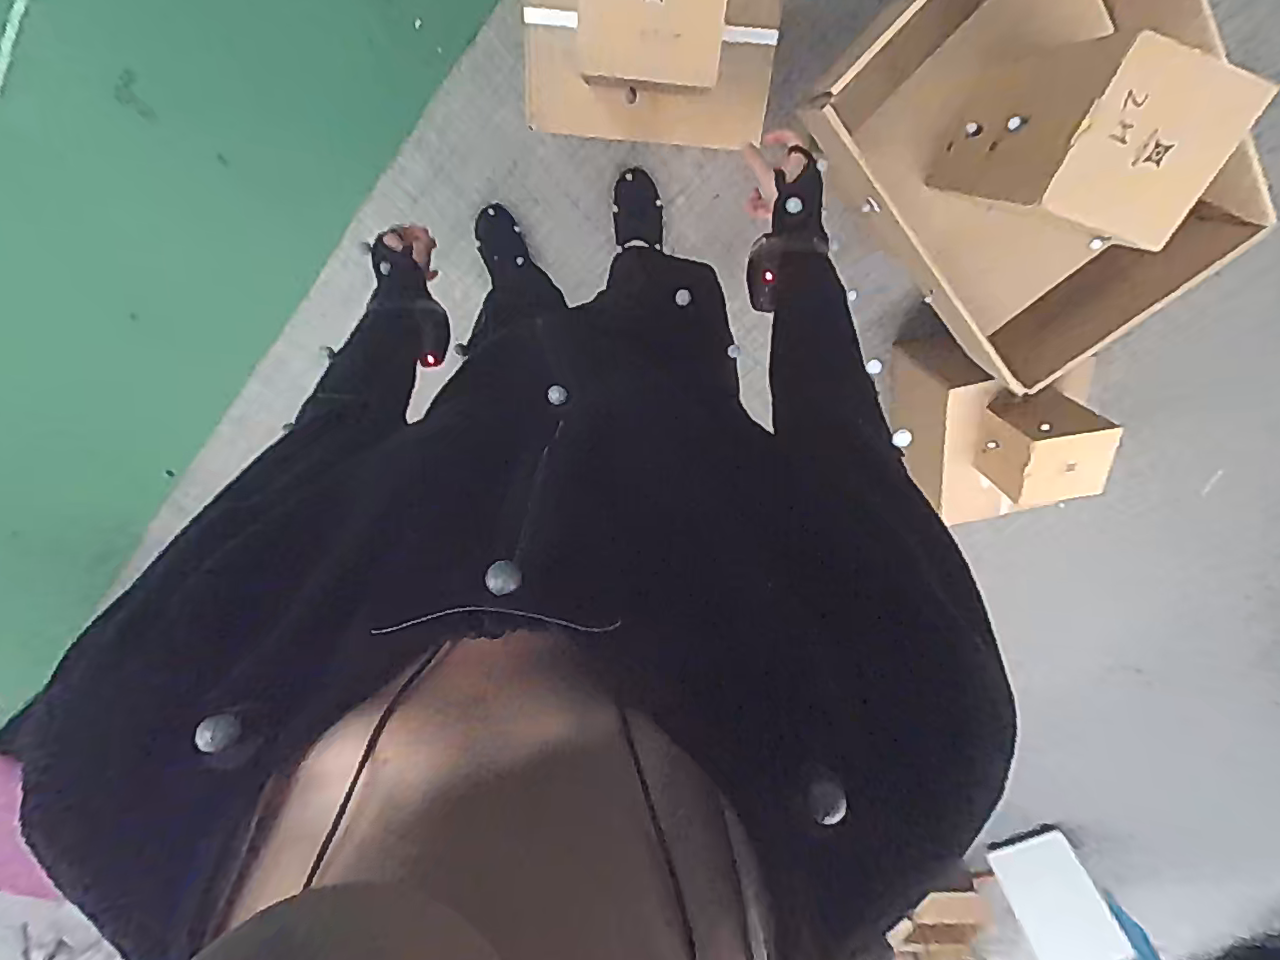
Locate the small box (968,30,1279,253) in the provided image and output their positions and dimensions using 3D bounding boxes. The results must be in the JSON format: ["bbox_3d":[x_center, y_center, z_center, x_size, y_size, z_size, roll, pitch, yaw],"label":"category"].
[{"bbox_3d":[0.545,-0.390,0.640,0.179,0.176,0.168,14,120,-8],"label":"small box"}]

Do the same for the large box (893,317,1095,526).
[{"bbox_3d":[0.877,-0.154,1.403,0.320,0.320,0.408,-12,123,7],"label":"large box"}]

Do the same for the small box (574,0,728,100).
[{"bbox_3d":[0.014,-0.573,0.643,0.168,0.176,0.179,5,122,-3],"label":"small box"}]

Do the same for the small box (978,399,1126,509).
[{"bbox_3d":[0.879,-0.061,1.174,0.179,0.176,0.168,-9,122,4],"label":"small box"}]
